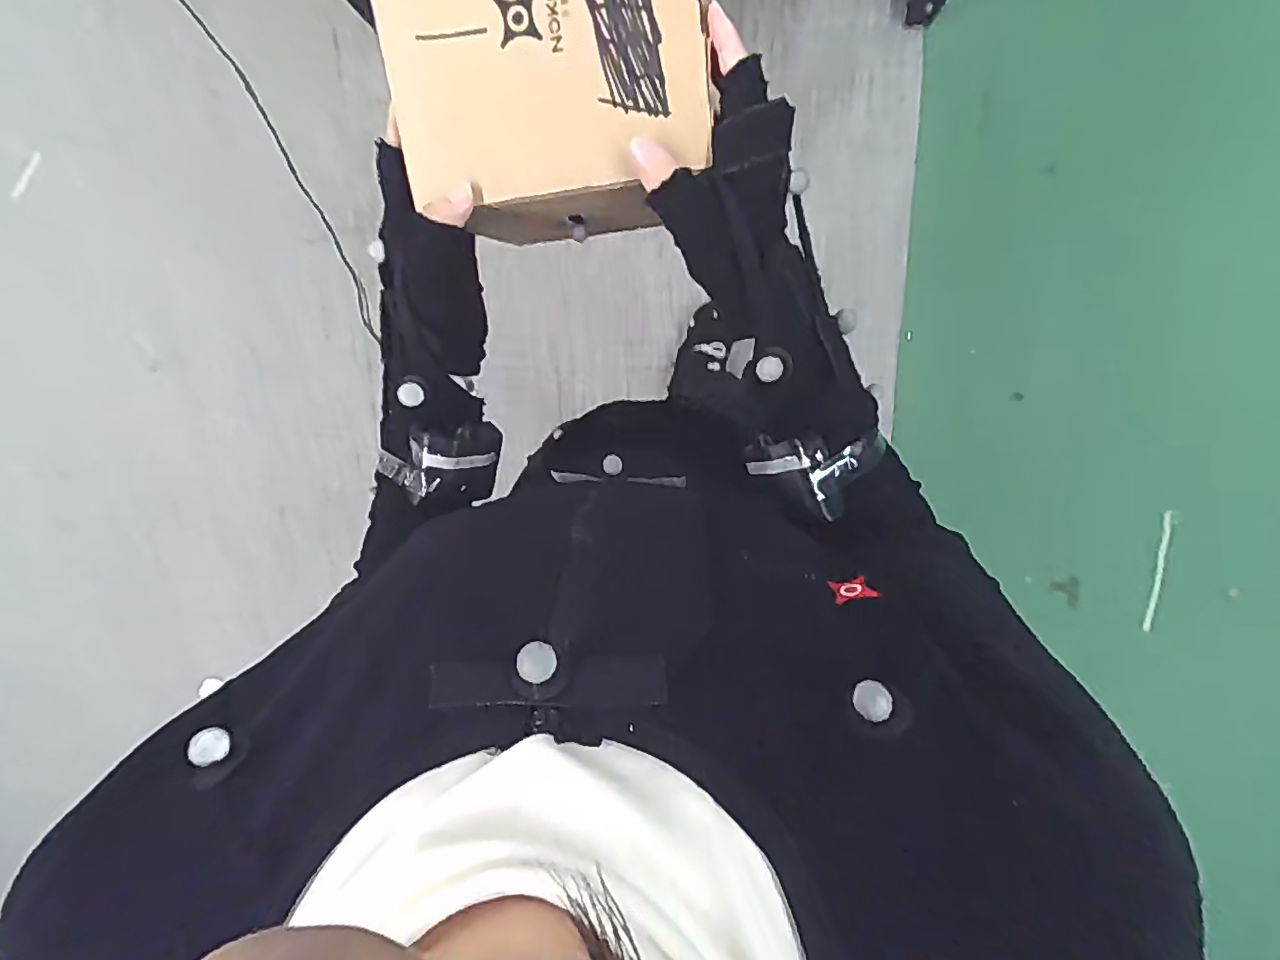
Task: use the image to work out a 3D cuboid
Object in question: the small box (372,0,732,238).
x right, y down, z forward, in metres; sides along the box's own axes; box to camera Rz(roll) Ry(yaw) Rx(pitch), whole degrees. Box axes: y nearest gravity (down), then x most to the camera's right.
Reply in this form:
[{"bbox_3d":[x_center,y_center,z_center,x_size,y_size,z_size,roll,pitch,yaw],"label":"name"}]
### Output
[{"bbox_3d":[-0.041,-0.263,0.346,0.179,0.176,0.168,-7,107,9],"label":"small box"}]
